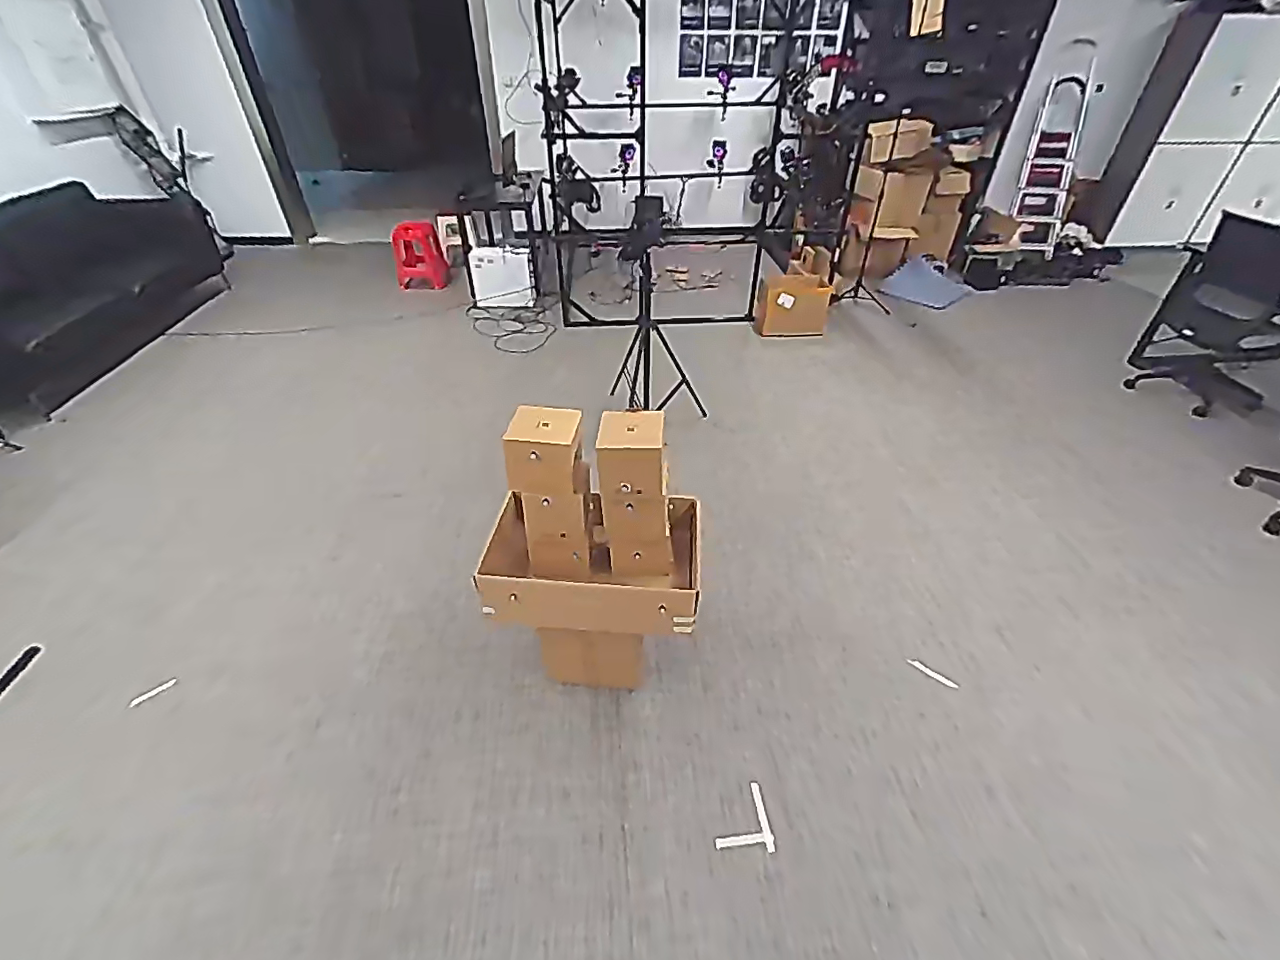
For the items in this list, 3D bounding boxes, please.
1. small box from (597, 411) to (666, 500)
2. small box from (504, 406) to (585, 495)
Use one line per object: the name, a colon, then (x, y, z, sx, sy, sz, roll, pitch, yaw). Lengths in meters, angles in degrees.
small box: (-0.015, -0.066, 1.423, 0.168, 0.176, 0.179, 0, 38, 4)
small box: (-0.245, -0.076, 1.438, 0.179, 0.176, 0.168, 5, 38, 3)
